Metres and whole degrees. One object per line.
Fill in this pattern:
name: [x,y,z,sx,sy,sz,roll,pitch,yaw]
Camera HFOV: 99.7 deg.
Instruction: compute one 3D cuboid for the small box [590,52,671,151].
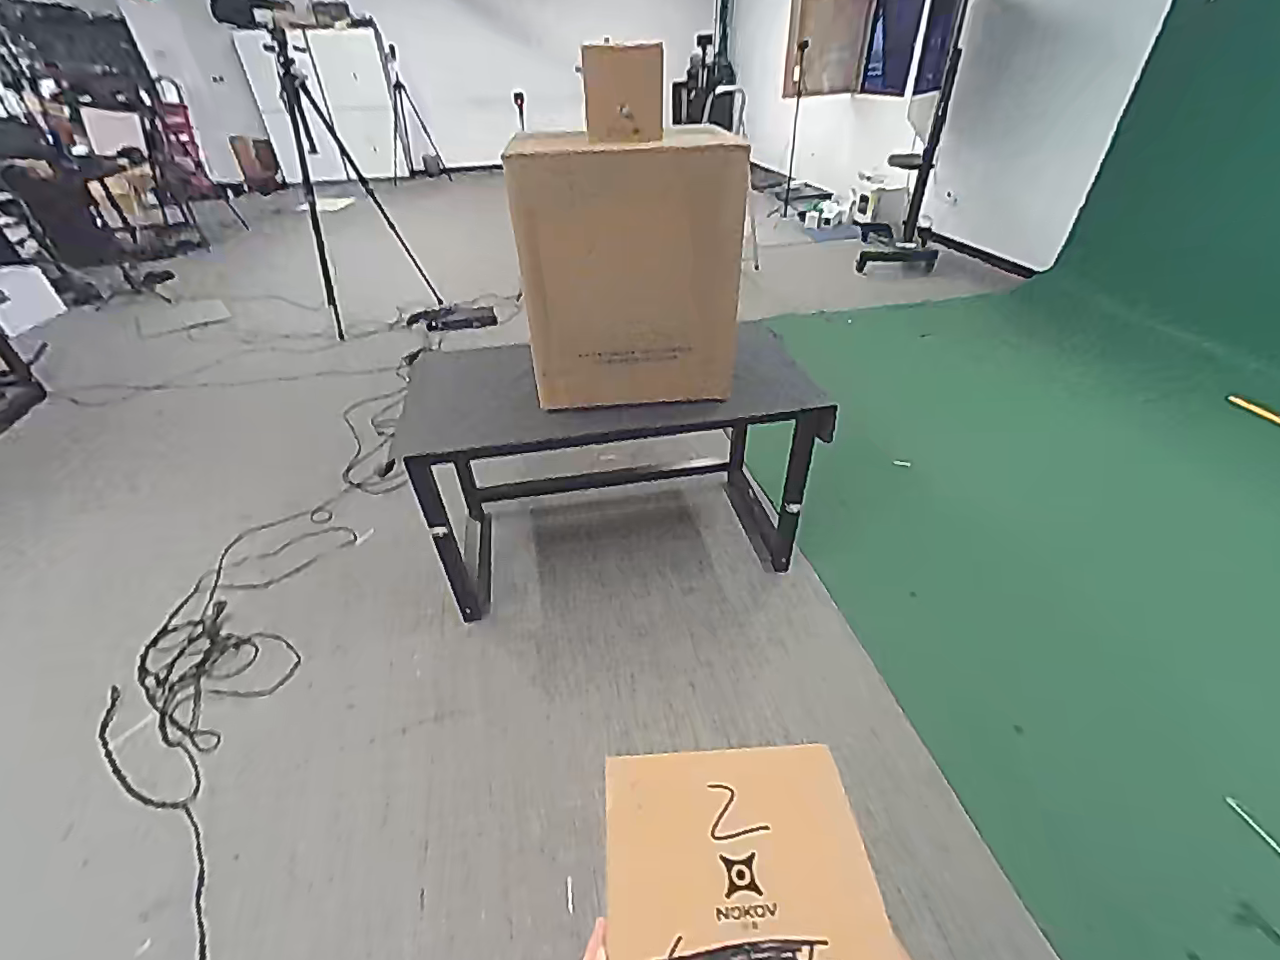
small box: [-0.025,-0.844,1.203,0.168,0.176,0.179,-5,40,-4]
